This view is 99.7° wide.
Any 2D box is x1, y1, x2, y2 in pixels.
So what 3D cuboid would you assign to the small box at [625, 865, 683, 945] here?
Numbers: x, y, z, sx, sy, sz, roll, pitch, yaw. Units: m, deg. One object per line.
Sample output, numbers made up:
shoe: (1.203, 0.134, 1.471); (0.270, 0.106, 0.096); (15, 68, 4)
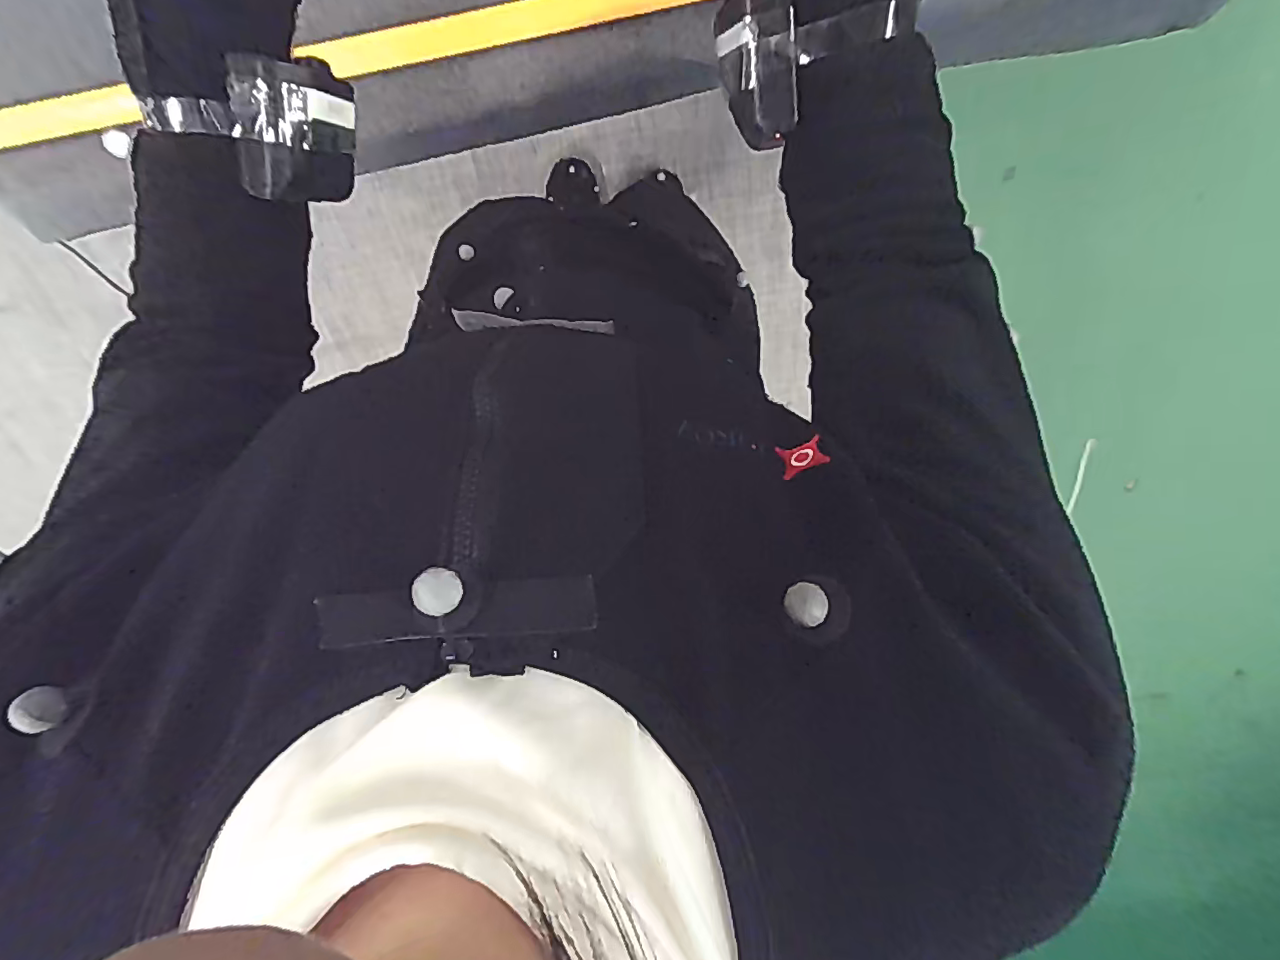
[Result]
small box: (0.048, 1.514, 1.928); (0.168, 0.176, 0.179); (-15, 121, 4)
